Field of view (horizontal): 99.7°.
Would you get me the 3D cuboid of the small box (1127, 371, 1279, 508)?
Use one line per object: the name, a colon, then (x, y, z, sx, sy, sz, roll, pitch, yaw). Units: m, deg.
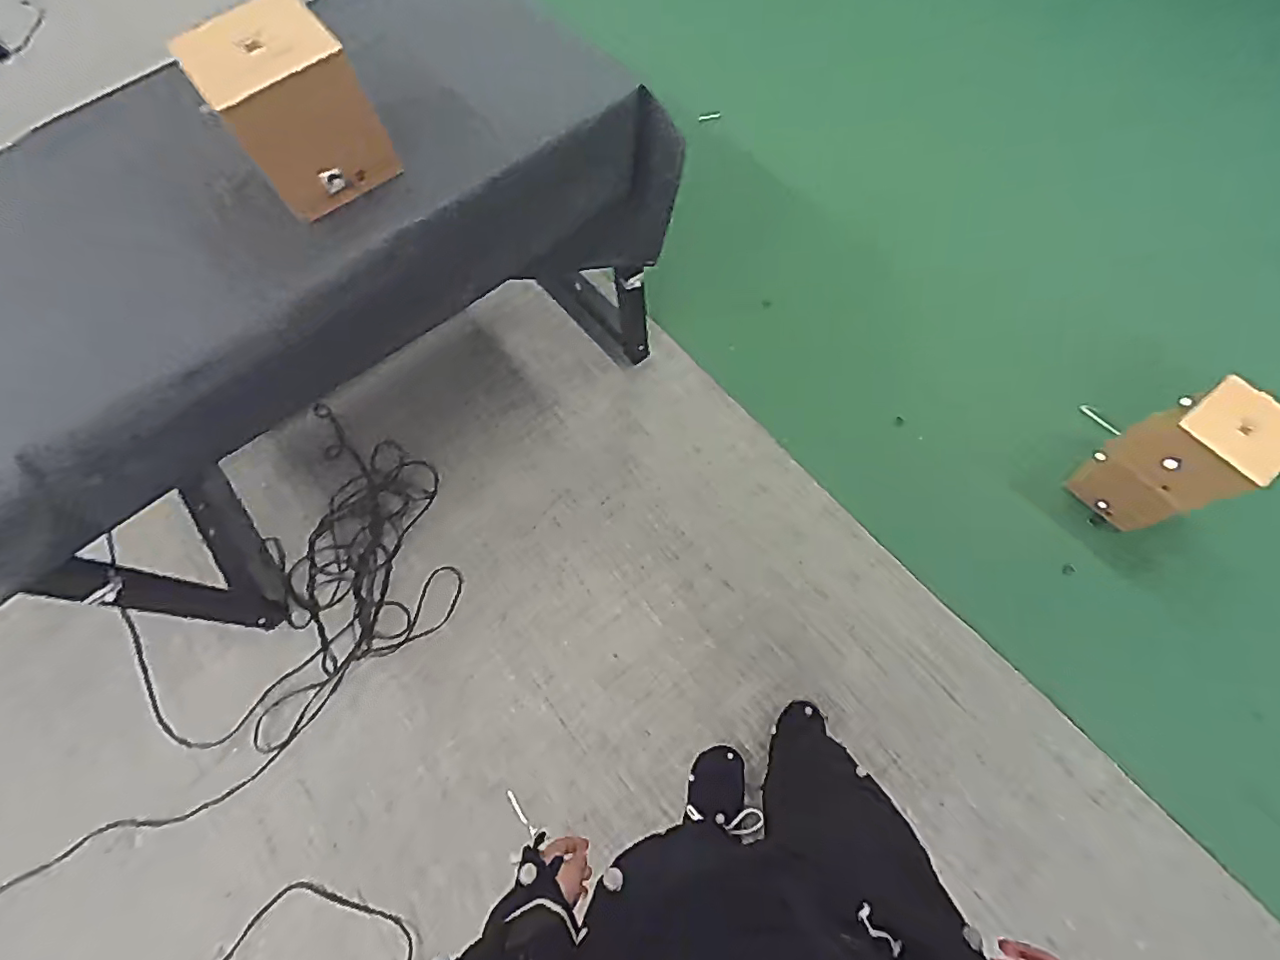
small box: (1.129, -0.071, 1.066, 0.179, 0.176, 0.168, -36, 71, -10)

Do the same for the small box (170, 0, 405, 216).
small box: (-0.457, -0.499, 0.724, 0.168, 0.176, 0.179, -37, 72, -9)
